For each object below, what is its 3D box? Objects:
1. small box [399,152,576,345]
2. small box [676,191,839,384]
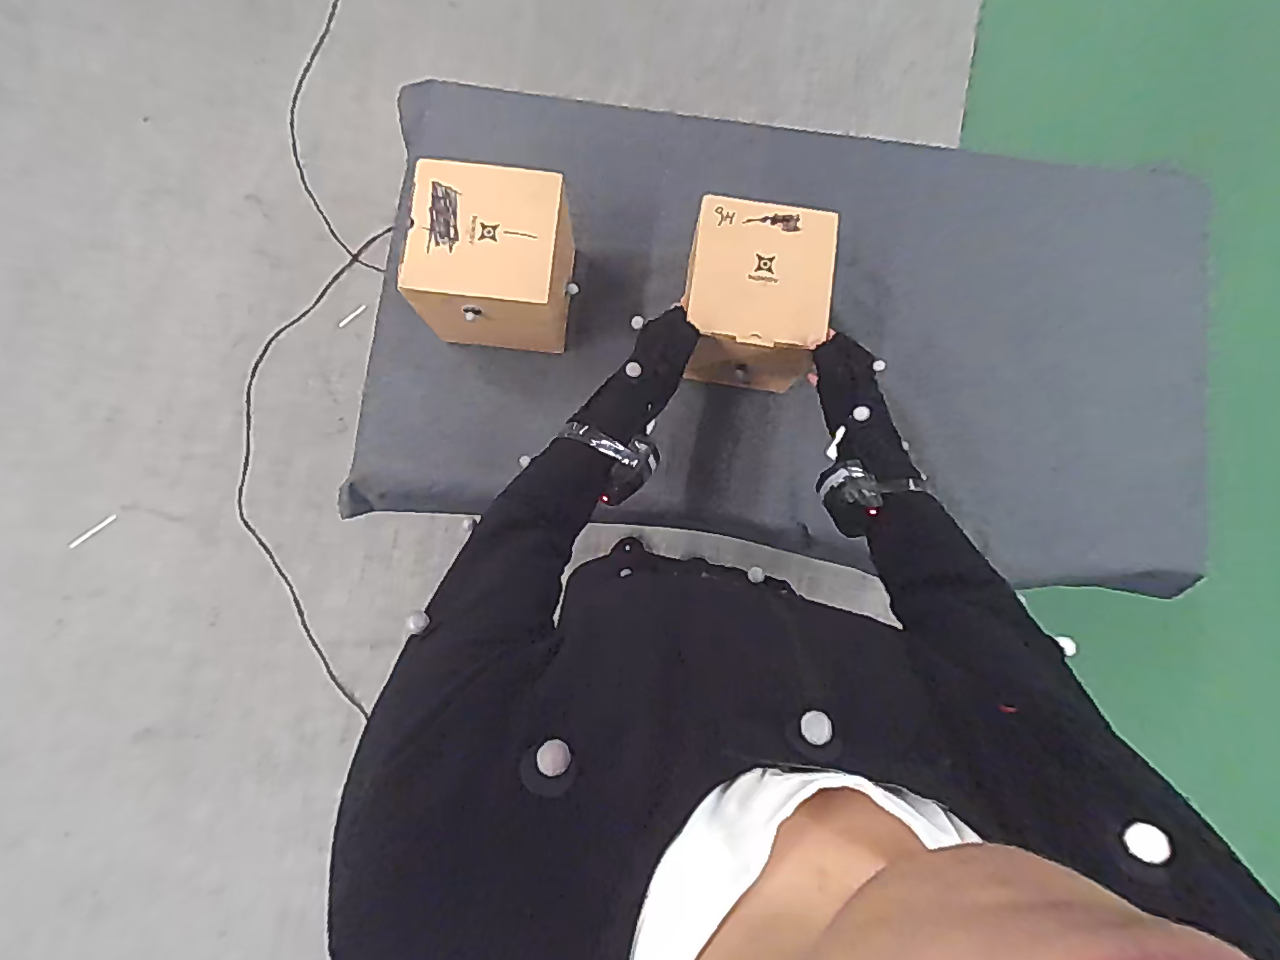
[{"bbox_3d":[-0.185,-0.289,0.709,0.179,0.176,0.168,6,84,-2],"label":"small box"},{"bbox_3d":[0.142,-0.239,0.712,0.168,0.176,0.179,9,83,0],"label":"small box"}]
